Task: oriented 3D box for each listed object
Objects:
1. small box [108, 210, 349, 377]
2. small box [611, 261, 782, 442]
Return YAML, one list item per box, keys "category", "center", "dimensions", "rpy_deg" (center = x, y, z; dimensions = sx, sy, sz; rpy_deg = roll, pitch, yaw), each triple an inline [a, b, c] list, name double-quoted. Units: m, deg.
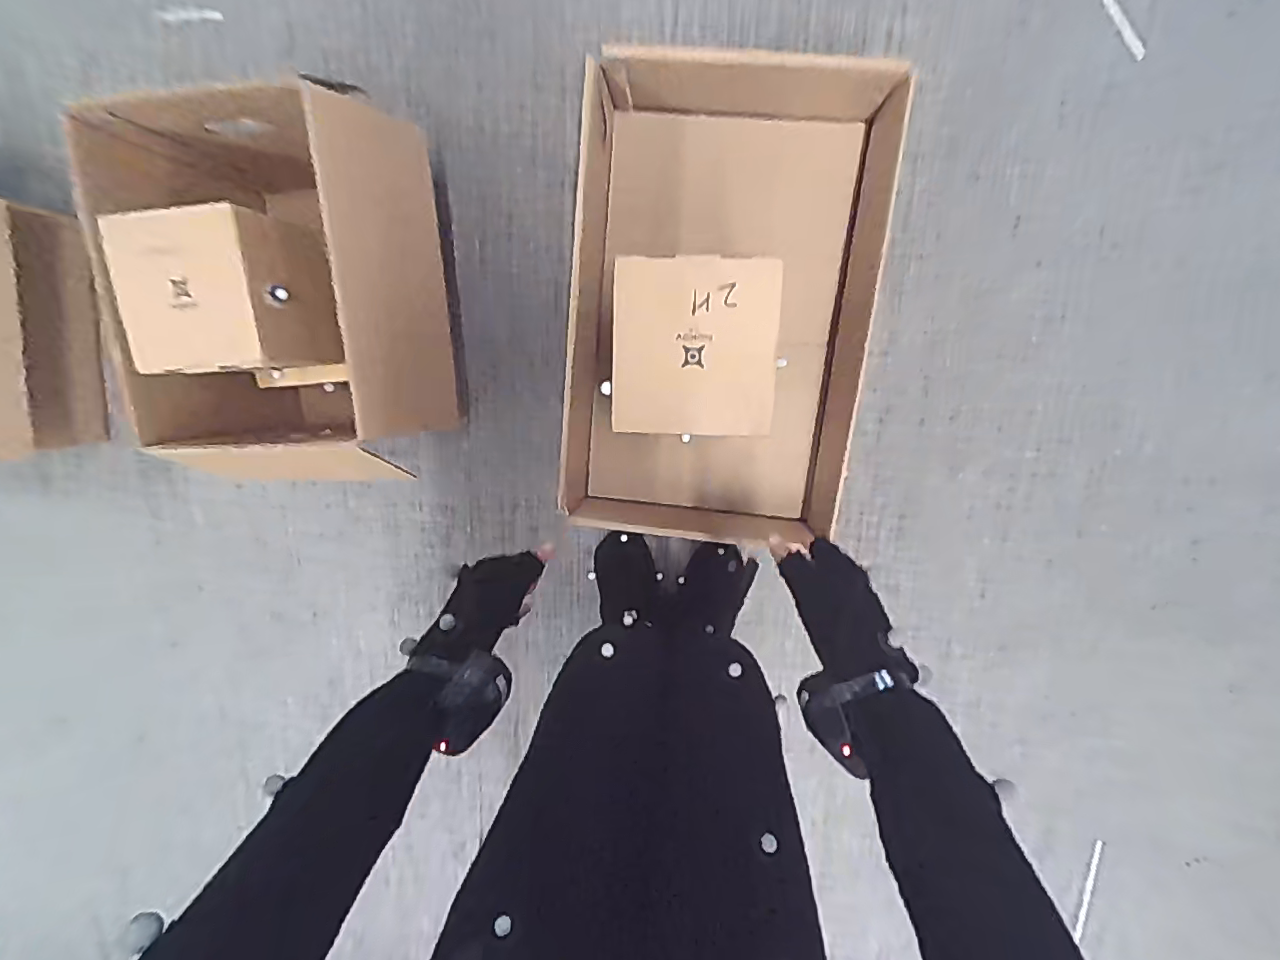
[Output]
- category: "small box"
  center: [-0.506, -0.228, 0.696]
  dimensions: [0.168, 0.176, 0.179]
  rpy_deg: [-2, 102, 6]
- category: "small box"
  center: [0.061, -0.142, 0.622]
  dimensions: [0.168, 0.176, 0.179]
  rpy_deg: [2, 99, 4]
